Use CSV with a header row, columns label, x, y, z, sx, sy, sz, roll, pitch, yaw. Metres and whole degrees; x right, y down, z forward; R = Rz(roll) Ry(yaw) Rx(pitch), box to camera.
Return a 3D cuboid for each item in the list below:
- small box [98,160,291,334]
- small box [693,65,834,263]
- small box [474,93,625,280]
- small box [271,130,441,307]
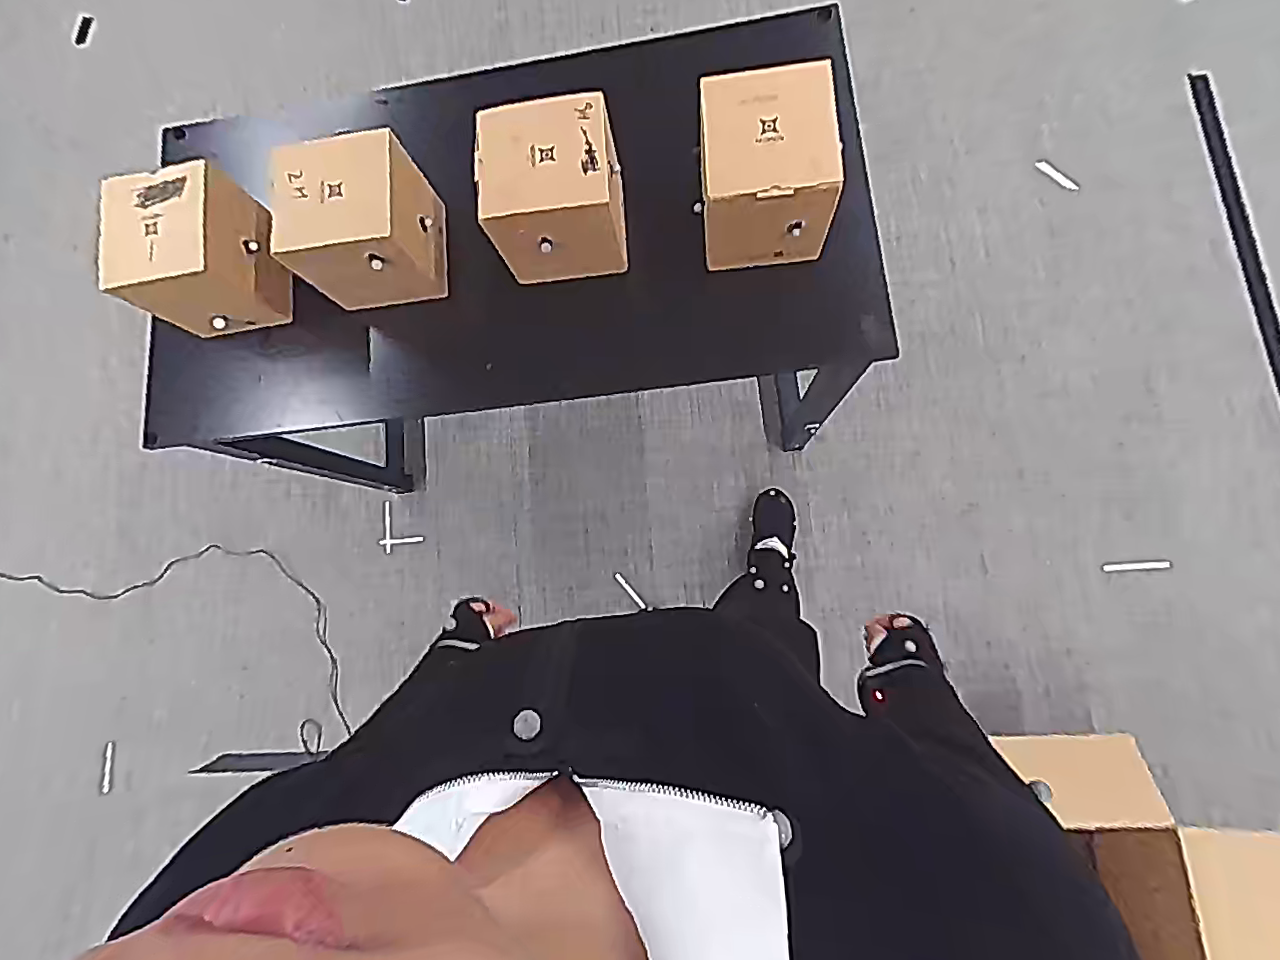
label,x,y,z,sx,sy,sz,roll,pitch,yaw
small box,-0.679,-0.352,0.844,0.168,0.176,0.179,-8,81,5
small box,0.164,-0.425,0.759,0.168,0.176,0.179,-4,80,6
small box,-0.125,-0.413,0.791,0.179,0.176,0.168,-5,81,7
small box,-0.415,-0.382,0.817,0.179,0.176,0.168,-7,80,5
